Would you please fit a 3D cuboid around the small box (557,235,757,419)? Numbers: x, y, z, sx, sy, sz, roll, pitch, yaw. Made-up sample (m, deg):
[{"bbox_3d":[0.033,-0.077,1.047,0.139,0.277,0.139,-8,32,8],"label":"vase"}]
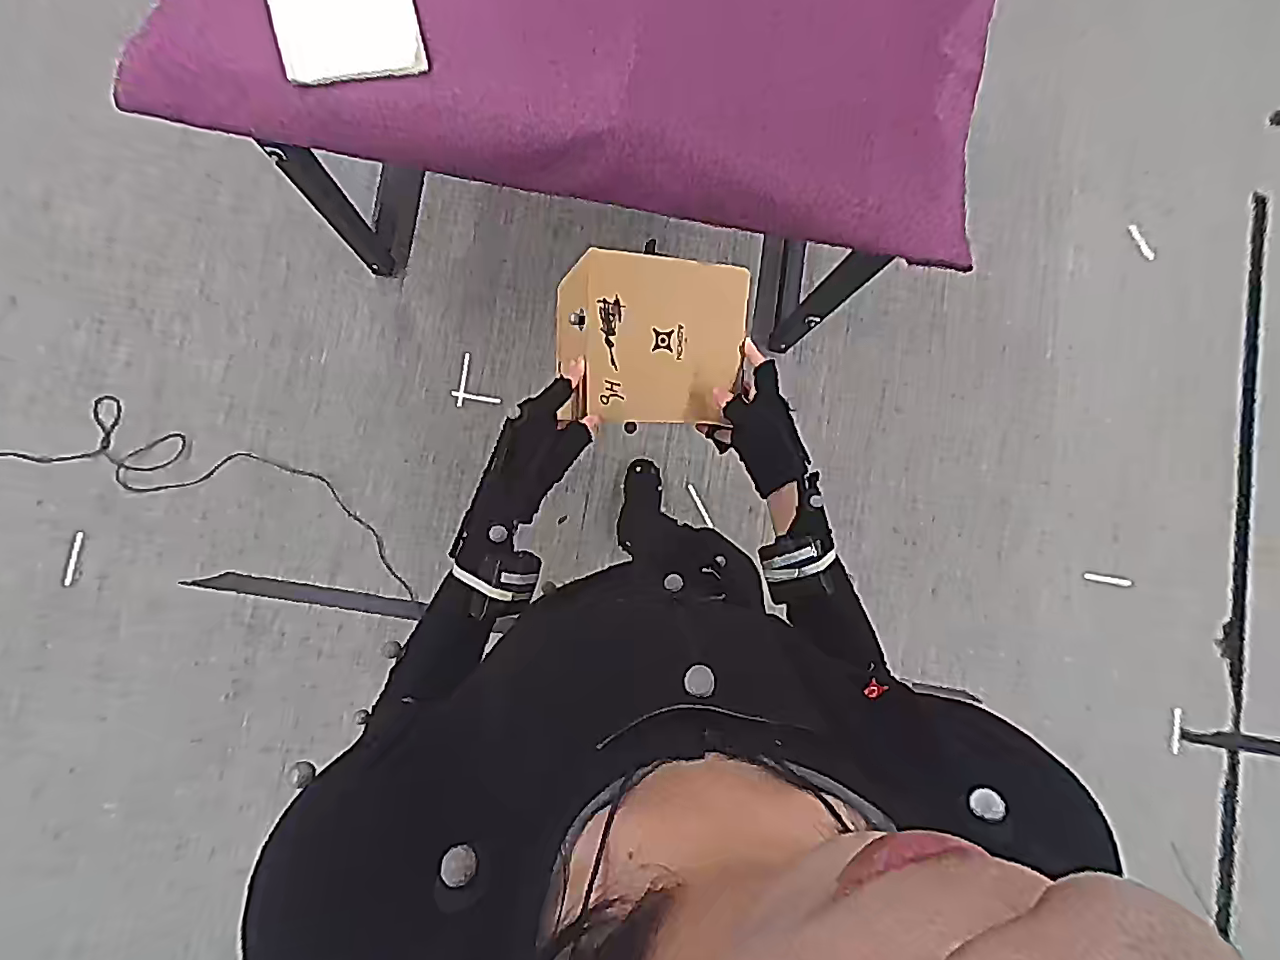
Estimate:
[{"bbox_3d":[0.010,-0.158,0.613,0.179,0.176,0.168,0,97,-19],"label":"small box"}]
